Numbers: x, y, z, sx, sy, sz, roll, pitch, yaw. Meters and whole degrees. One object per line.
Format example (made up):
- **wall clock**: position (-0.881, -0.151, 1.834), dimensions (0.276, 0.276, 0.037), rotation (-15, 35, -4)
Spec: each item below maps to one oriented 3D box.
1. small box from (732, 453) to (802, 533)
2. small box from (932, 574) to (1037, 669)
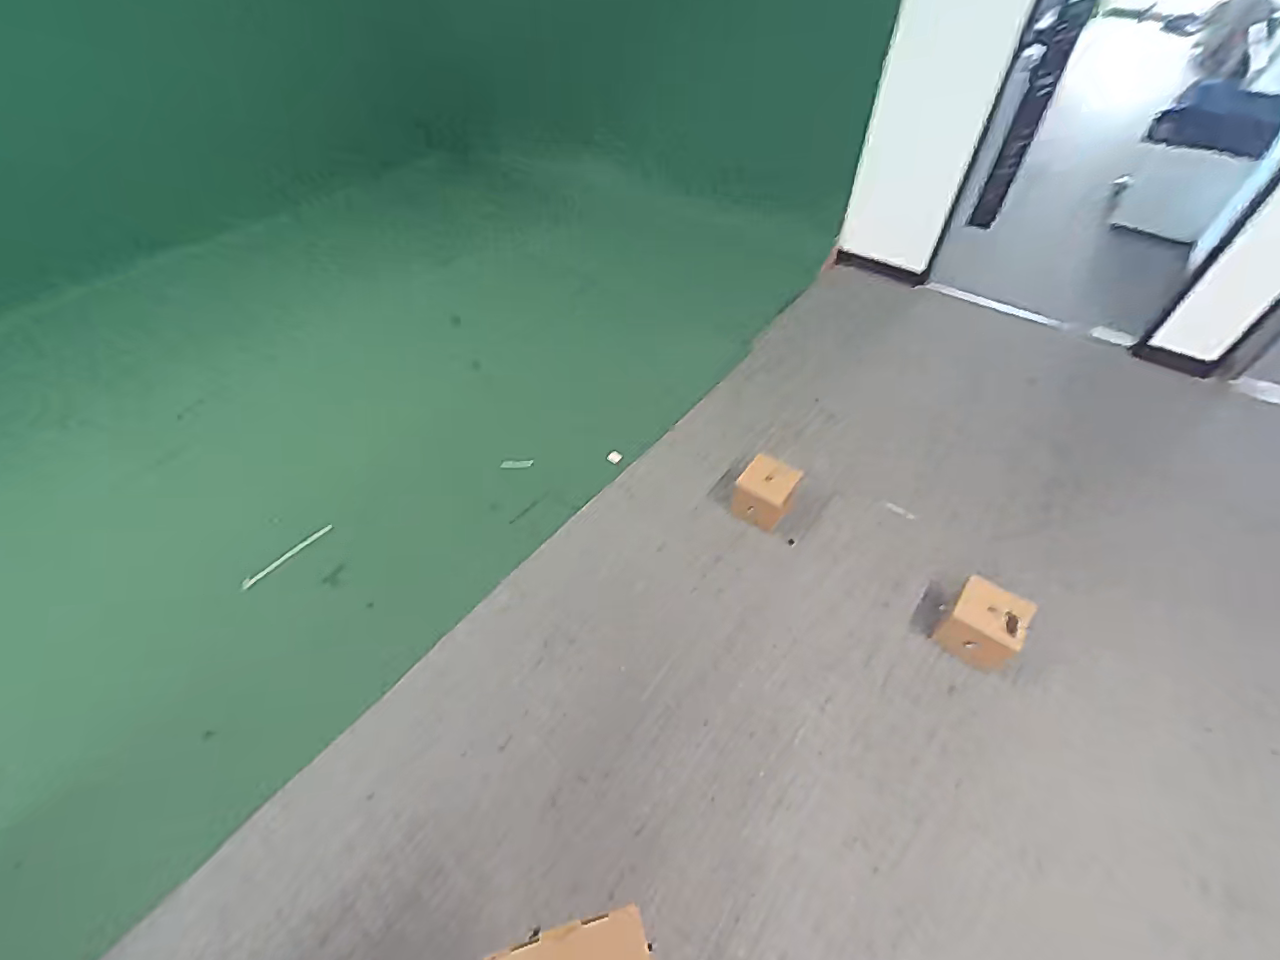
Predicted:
- **small box**: position (0.425, 0.047, 1.839), dimensions (0.168, 0.176, 0.179), rotation (30, 57, 24)
- **small box**: position (0.961, 0.405, 1.518), dimensions (0.179, 0.176, 0.168), rotation (30, 57, 25)
